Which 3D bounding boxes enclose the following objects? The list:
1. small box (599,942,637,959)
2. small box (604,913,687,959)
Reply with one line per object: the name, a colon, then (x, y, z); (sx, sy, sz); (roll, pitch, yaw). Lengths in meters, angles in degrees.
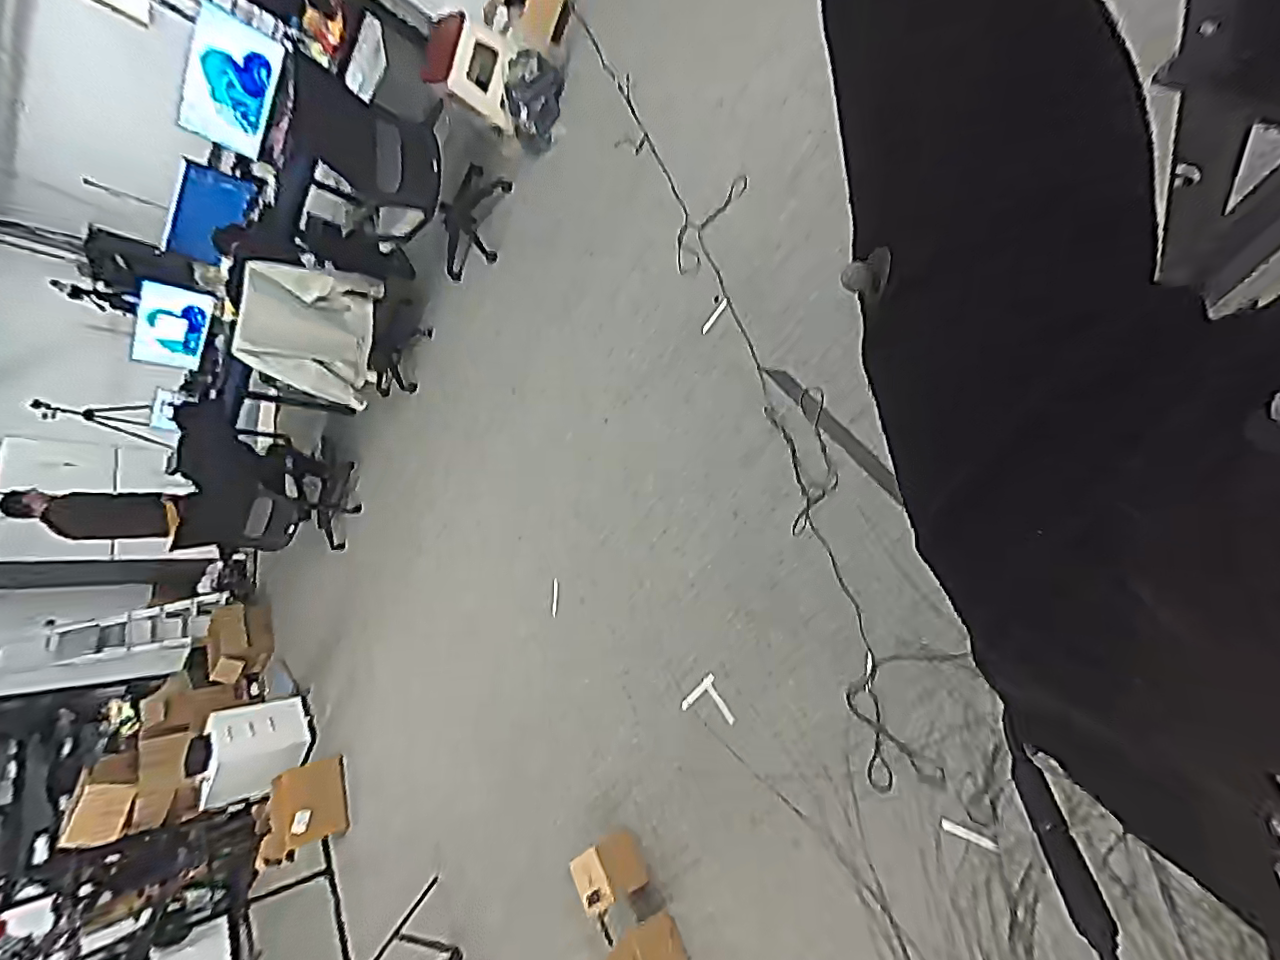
small box: (-0.093, 1.545, 1.622); (0.179, 0.176, 0.168); (-54, 54, 25)
small box: (0.020, 1.549, 1.741); (0.179, 0.176, 0.168); (-50, 56, 26)
